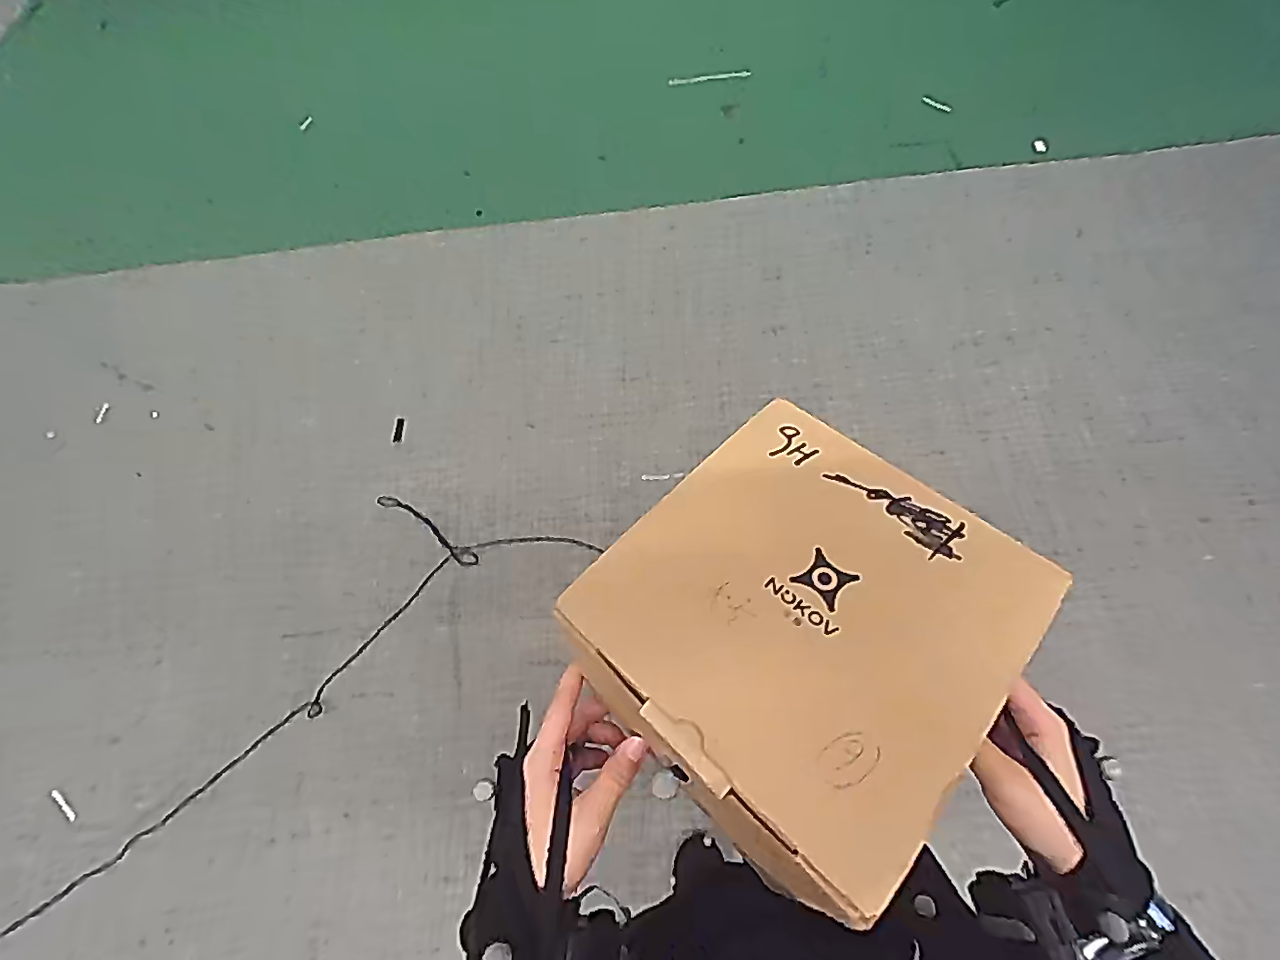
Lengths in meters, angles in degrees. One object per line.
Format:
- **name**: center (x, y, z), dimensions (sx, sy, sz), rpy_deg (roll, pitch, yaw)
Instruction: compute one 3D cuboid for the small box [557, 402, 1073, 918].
- **small box**: center (0.082, 0.097, 0.310), dimensions (0.179, 0.176, 0.168), rpy_deg (-40, 63, -22)
